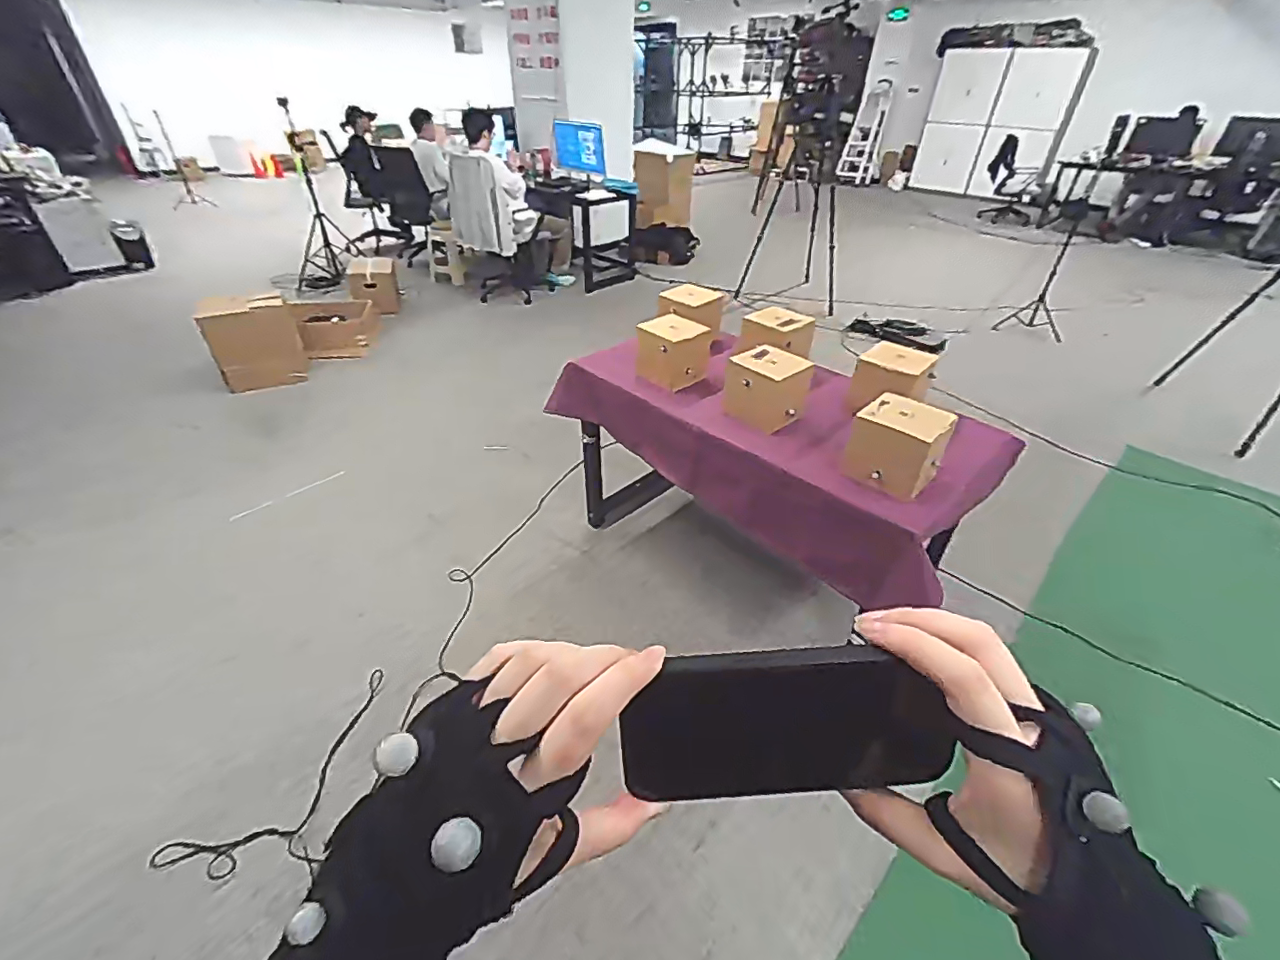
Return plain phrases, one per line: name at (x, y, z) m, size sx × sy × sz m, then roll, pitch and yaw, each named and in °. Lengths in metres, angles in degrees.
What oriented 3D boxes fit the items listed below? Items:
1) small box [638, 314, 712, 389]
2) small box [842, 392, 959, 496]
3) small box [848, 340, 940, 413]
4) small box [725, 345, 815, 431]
small box at (0.105, -0.409, 1.724) m, size 0.168 × 0.176 × 0.179 m, roll -28°, pitch 47°, yaw -33°
small box at (0.617, -0.082, 1.296) m, size 0.179 × 0.176 × 0.168 m, roll 31°, pitch 46°, yaw 34°
small box at (0.725, -0.279, 1.559) m, size 0.168 × 0.176 × 0.179 m, roll 30°, pitch 46°, yaw 33°
small box at (0.361, -0.261, 1.531) m, size 0.168 × 0.176 × 0.179 m, roll -27°, pitch 46°, yaw -32°
